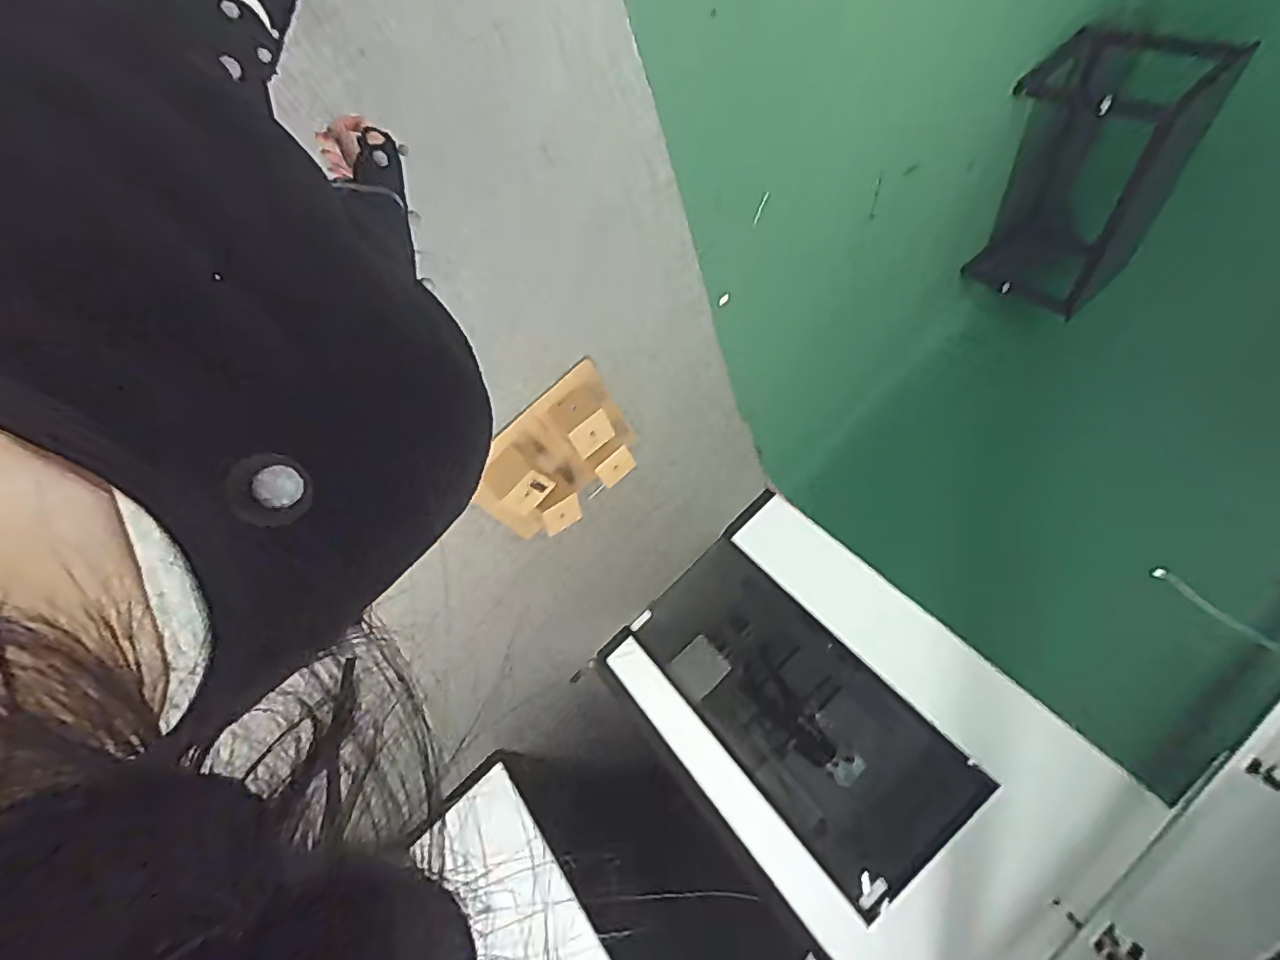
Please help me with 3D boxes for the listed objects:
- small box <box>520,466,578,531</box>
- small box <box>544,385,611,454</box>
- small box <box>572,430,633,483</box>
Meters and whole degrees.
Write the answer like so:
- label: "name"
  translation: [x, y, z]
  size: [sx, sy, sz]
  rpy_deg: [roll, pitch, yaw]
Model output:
- label: "small box"
  translation: [-0.383, 0.076, 2.268]
  size: [0.168, 0.176, 0.179]
  rpy_deg: [-32, 146, -21]
- label: "small box"
  translation: [-0.241, -0.241, 2.078]
  size: [0.168, 0.176, 0.179]
  rpy_deg: [-39, 148, -9]
- label: "small box"
  translation: [-0.164, -0.123, 2.303]
  size: [0.168, 0.176, 0.179]
  rpy_deg: [-41, 149, -6]
